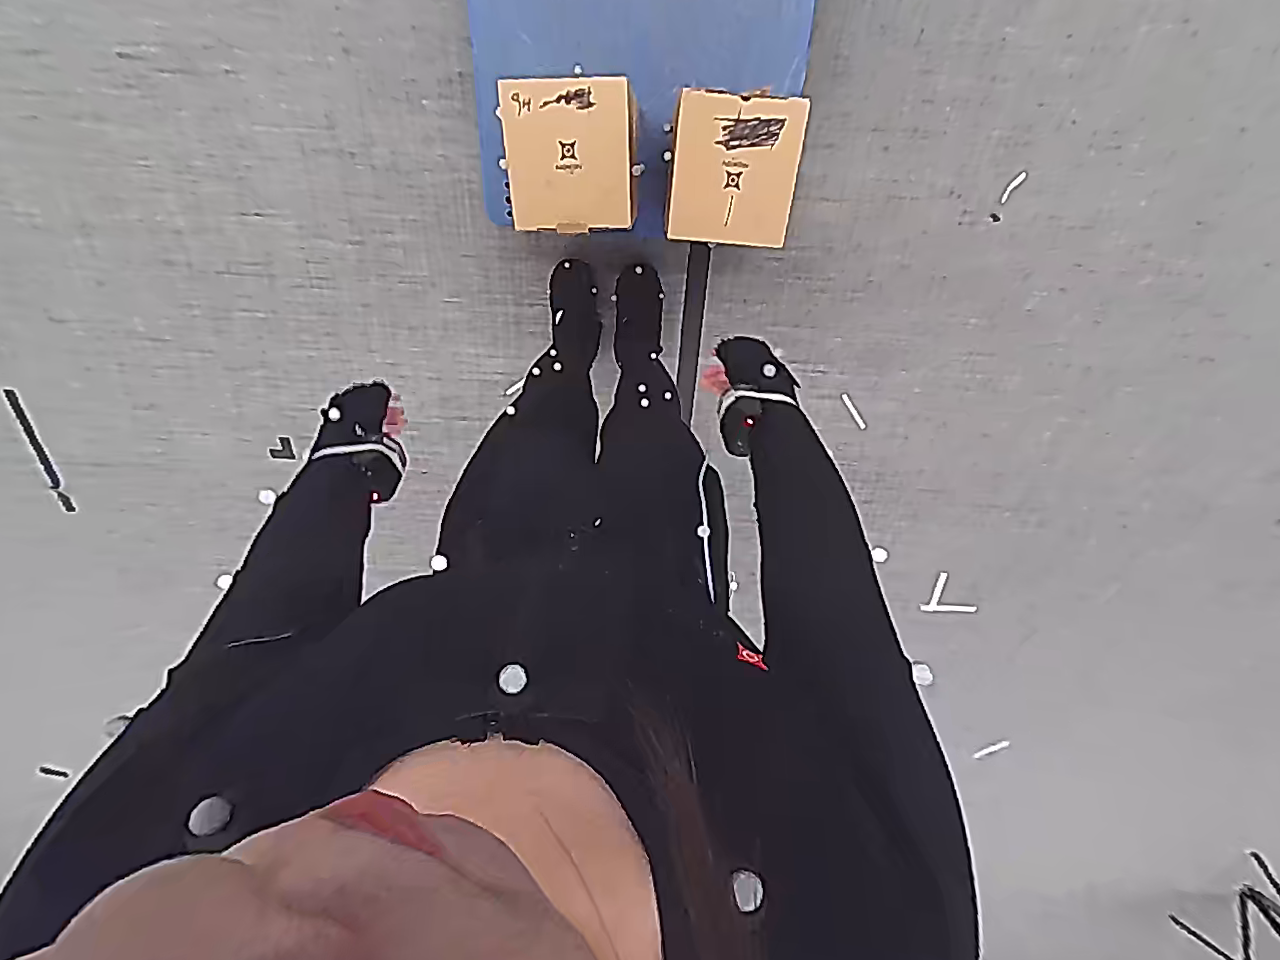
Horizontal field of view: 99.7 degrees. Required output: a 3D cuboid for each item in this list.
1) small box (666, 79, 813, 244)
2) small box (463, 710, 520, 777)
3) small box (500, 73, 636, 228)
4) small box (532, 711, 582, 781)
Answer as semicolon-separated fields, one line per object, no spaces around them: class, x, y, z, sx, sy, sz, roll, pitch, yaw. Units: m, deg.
small box;0.129;-0.454;0.783;0.168;0.176;0.179;5;120;-2
small box;-0.561;1.004;2.067;0.179;0.176;0.168;6;120;0
small box;-0.091;-0.471;0.781;0.168;0.176;0.179;0;121;1
small box;-0.310;1.015;2.061;0.168;0.176;0.179;3;119;-1
